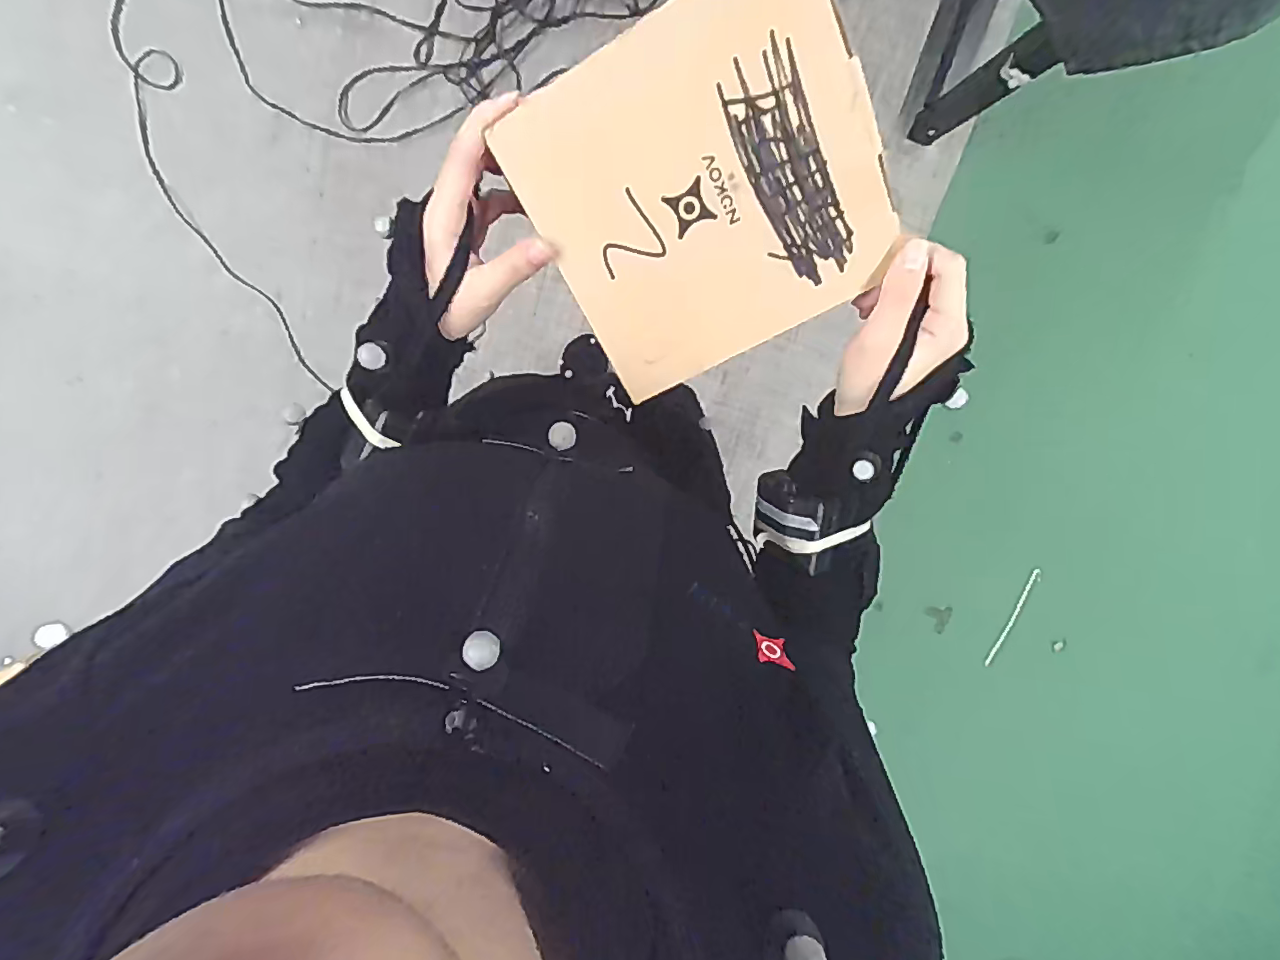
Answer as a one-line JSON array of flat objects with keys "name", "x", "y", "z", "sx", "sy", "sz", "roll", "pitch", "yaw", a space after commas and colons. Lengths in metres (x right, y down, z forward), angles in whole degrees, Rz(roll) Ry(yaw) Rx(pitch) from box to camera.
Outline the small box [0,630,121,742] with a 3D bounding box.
[{"name": "small box", "x": -1.499, "y": 0.514, "z": 1.368, "sx": 0.179, "sy": 0.176, "sz": 0.168, "roll": -26, "pitch": 106, "yaw": 4}]
